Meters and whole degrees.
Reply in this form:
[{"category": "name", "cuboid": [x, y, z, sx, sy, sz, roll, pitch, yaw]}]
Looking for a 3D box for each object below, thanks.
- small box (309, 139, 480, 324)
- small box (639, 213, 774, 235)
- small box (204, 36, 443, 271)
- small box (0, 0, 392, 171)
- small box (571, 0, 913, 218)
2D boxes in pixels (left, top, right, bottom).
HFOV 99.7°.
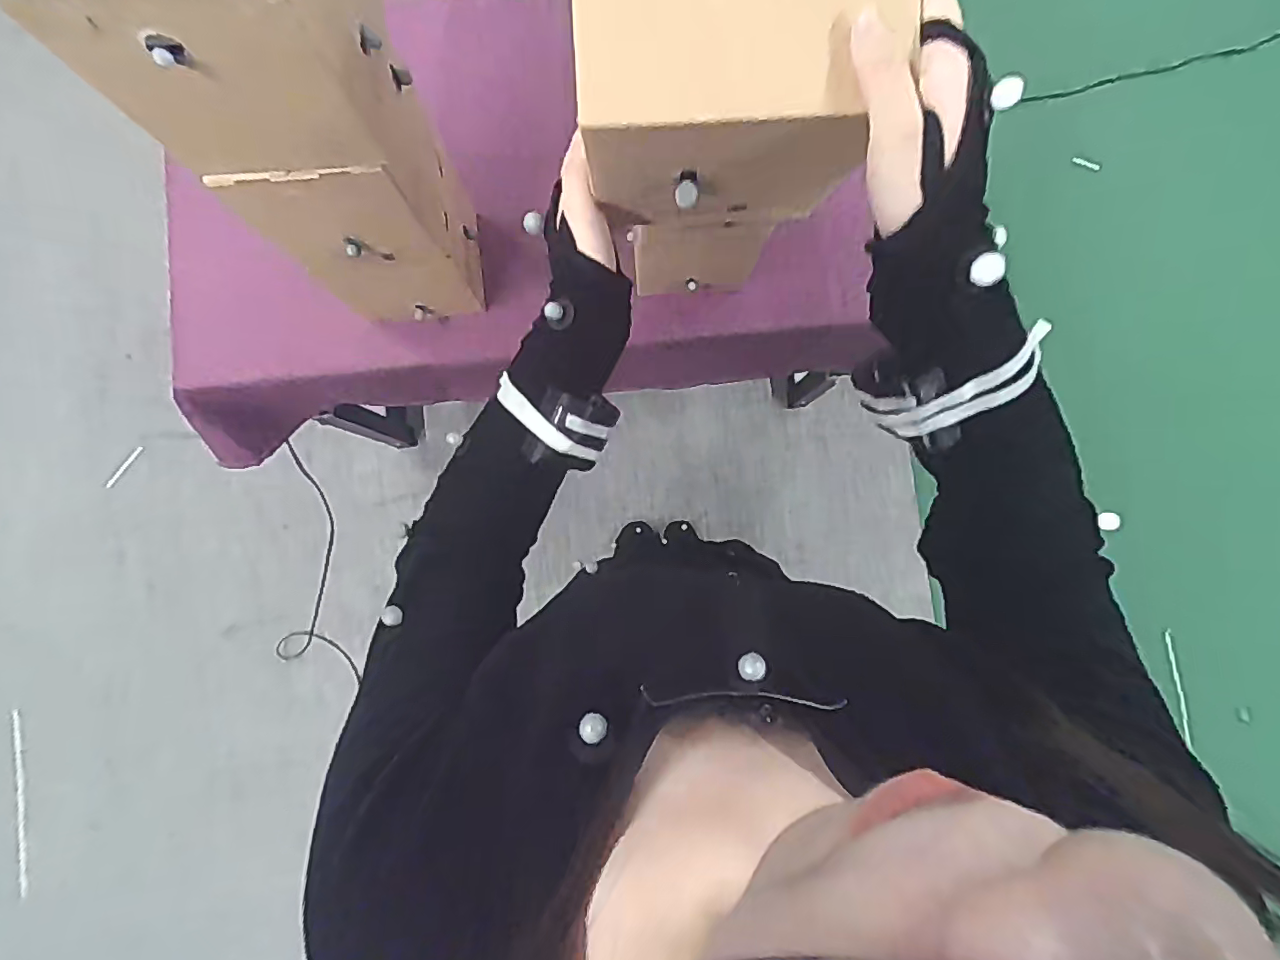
[{"category": "small box", "cuboid": [-0.328, -0.331, 0.746, 0.179, 0.176, 0.168, -7, 84, -3]}, {"category": "small box", "cuboid": [0.076, -0.391, 0.596, 0.168, 0.176, 0.179, -6, 85, -2]}, {"category": "small box", "cuboid": [-0.324, -0.351, 0.582, 0.168, 0.176, 0.179, -6, 85, -1]}, {"category": "small box", "cuboid": [-0.316, -0.368, 0.419, 0.179, 0.176, 0.168, -4, 85, -3]}, {"category": "small box", "cuboid": [0.047, -0.275, 0.332, 0.168, 0.176, 0.179, -3, 98, 0]}]
